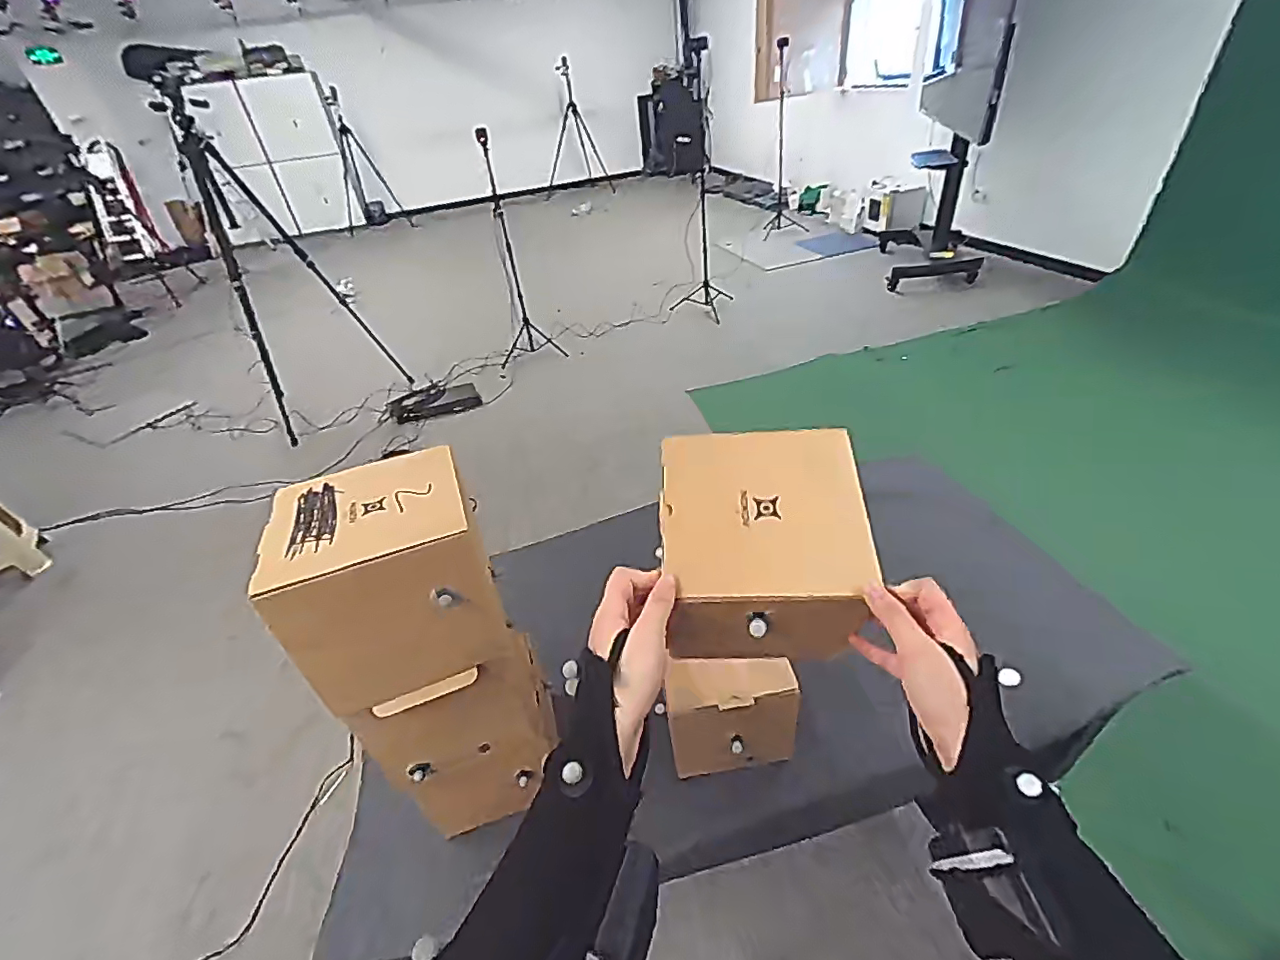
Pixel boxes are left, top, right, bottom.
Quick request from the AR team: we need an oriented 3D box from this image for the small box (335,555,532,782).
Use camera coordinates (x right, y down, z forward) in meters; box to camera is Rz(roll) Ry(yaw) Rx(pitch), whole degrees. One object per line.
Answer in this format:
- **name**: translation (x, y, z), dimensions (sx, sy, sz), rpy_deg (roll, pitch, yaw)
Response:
- **small box**: translation (-0.240, 0.228, 0.652), dimensions (0.168, 0.176, 0.179), rpy_deg (-18, 36, -14)

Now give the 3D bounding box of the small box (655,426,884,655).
- **small box**: translation (0.109, 0.066, 0.522), dimensions (0.179, 0.176, 0.168), rpy_deg (-3, 58, 7)

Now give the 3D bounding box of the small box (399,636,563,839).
- **small box**: translation (-0.212, 0.355, 0.752), dimensions (0.179, 0.176, 0.168), rpy_deg (-17, 36, -10)

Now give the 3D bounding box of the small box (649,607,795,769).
- **small box**: translation (0.113, 0.289, 0.774), dimensions (0.168, 0.176, 0.179), rpy_deg (-10, 37, -2)
